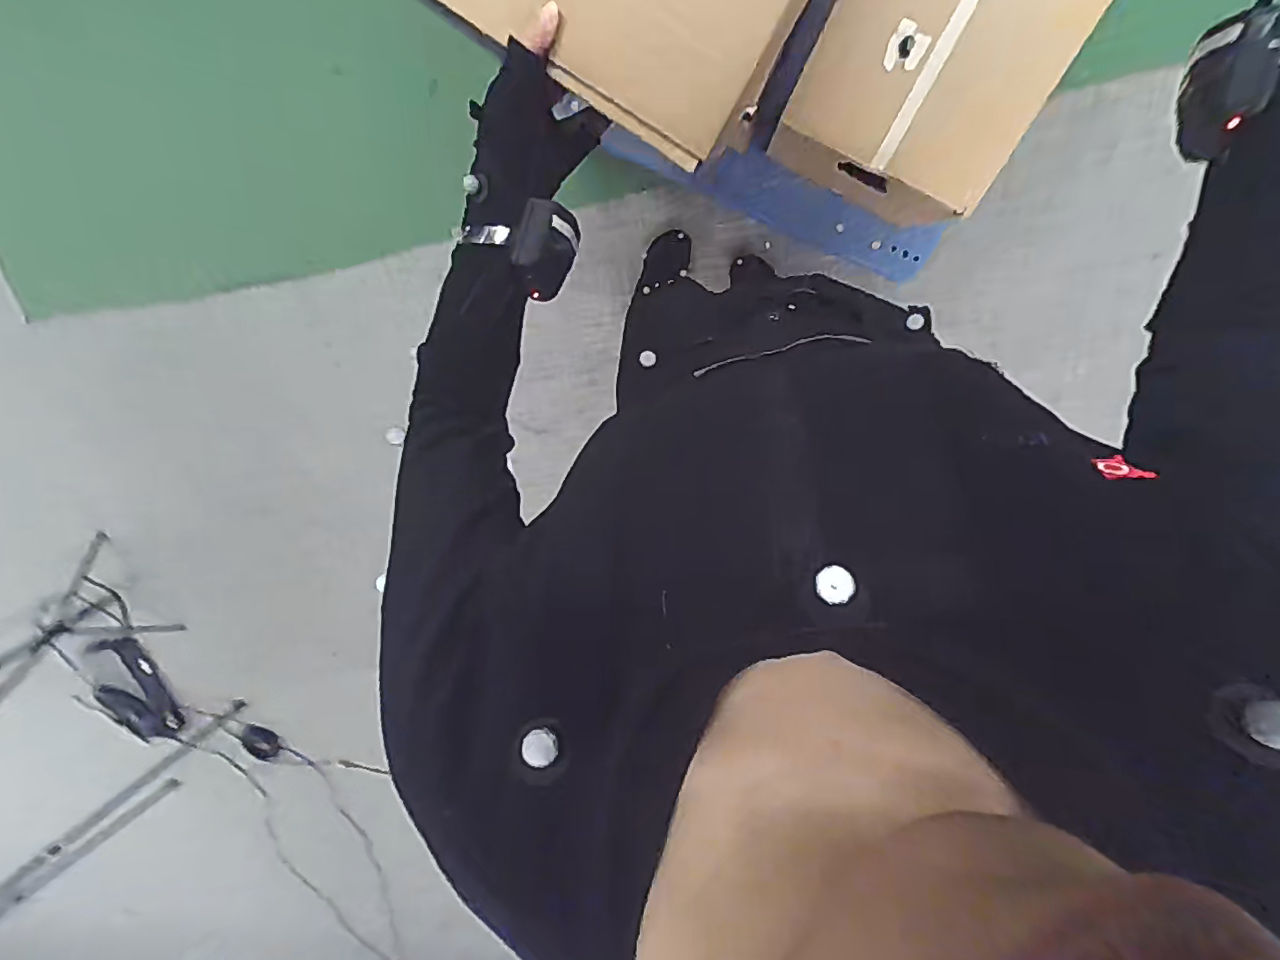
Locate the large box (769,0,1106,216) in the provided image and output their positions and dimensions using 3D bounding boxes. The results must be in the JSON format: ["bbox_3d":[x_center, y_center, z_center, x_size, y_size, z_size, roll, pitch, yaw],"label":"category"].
[{"bbox_3d":[0.437,-0.673,0.825,0.320,0.320,0.408,26,116,-2],"label":"large box"}]
